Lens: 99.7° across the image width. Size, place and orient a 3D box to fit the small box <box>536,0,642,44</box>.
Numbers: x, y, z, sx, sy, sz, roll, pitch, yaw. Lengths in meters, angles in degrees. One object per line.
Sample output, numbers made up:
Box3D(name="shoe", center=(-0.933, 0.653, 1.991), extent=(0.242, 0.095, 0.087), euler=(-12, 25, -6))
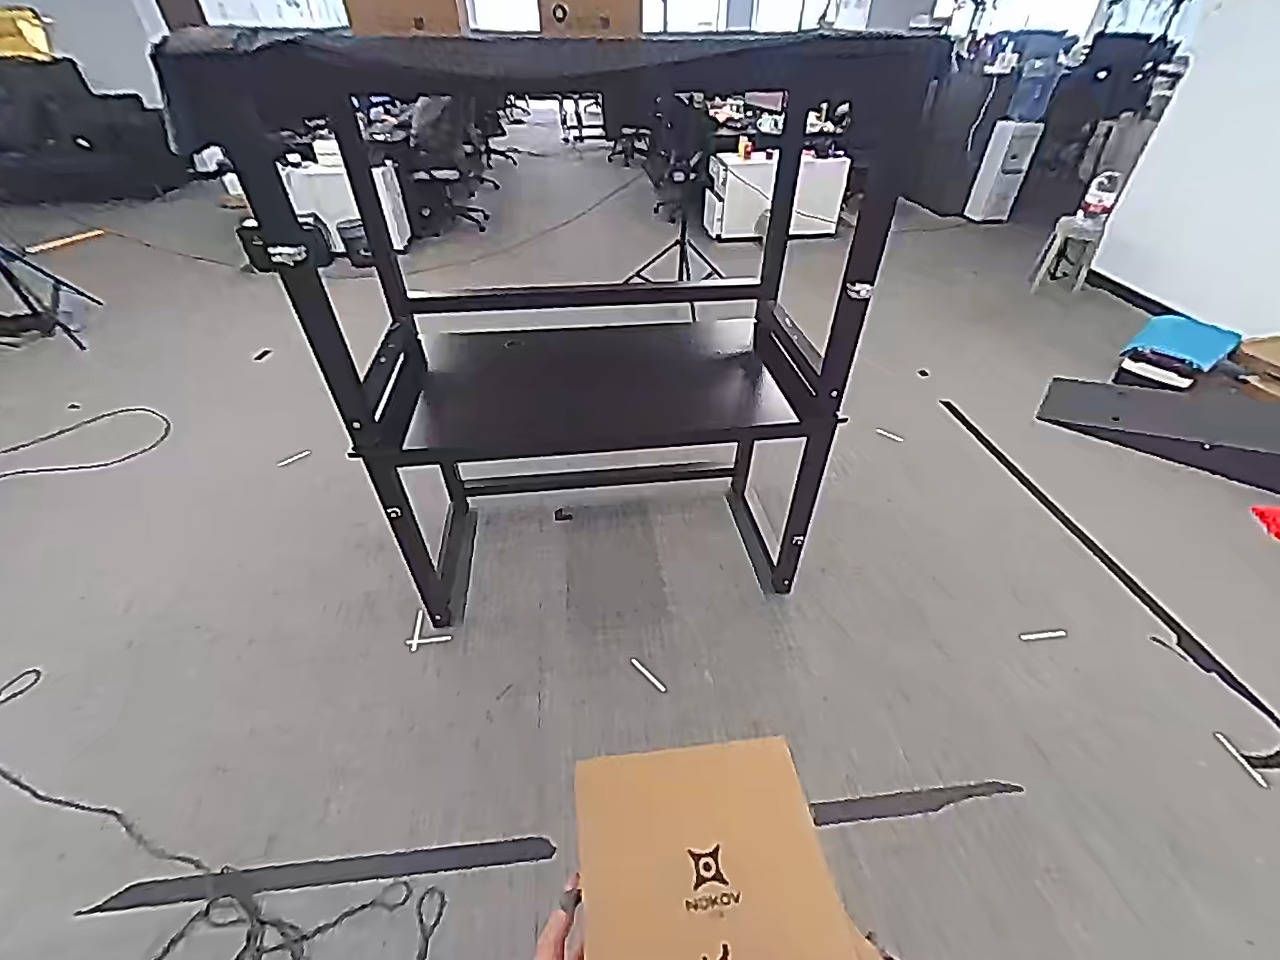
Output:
Box3D(name="small box", center=(-0.087, -0.819, 0.874), extent=(0.168, 0.176, 0.179), euler=(-4, 39, -5))

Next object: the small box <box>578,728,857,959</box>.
Box3D(name="small box", center=(0.038, 0.316, 0.405), extent=(0.168, 0.176, 0.179), euler=(-3, 41, -8))
